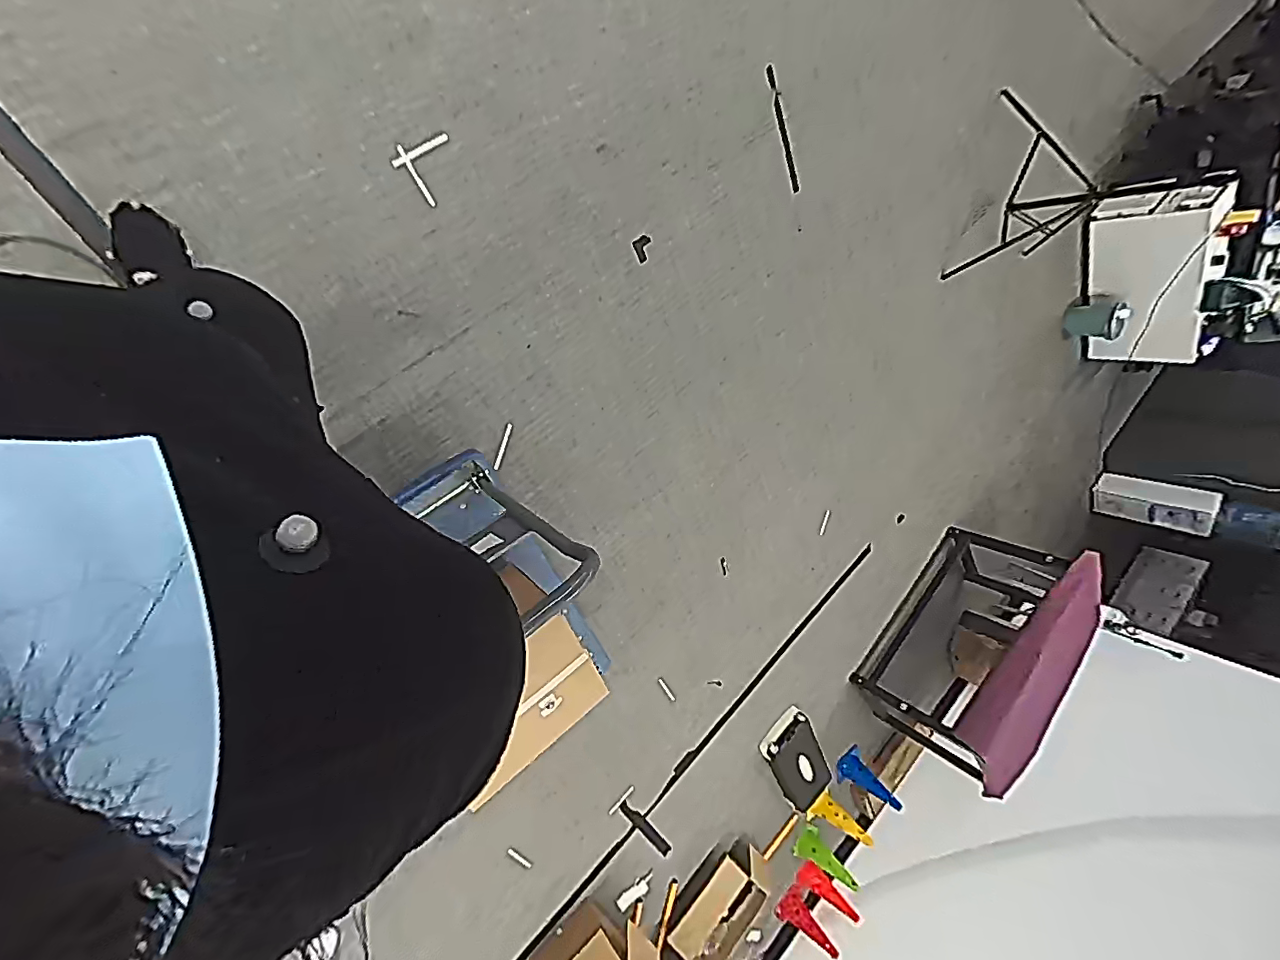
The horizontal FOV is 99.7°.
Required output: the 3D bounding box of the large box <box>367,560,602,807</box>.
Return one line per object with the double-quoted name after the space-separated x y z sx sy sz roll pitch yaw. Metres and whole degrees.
-0.377 0.470 1.326 0.408 0.320 0.320 -36 122 -23 "large box"
